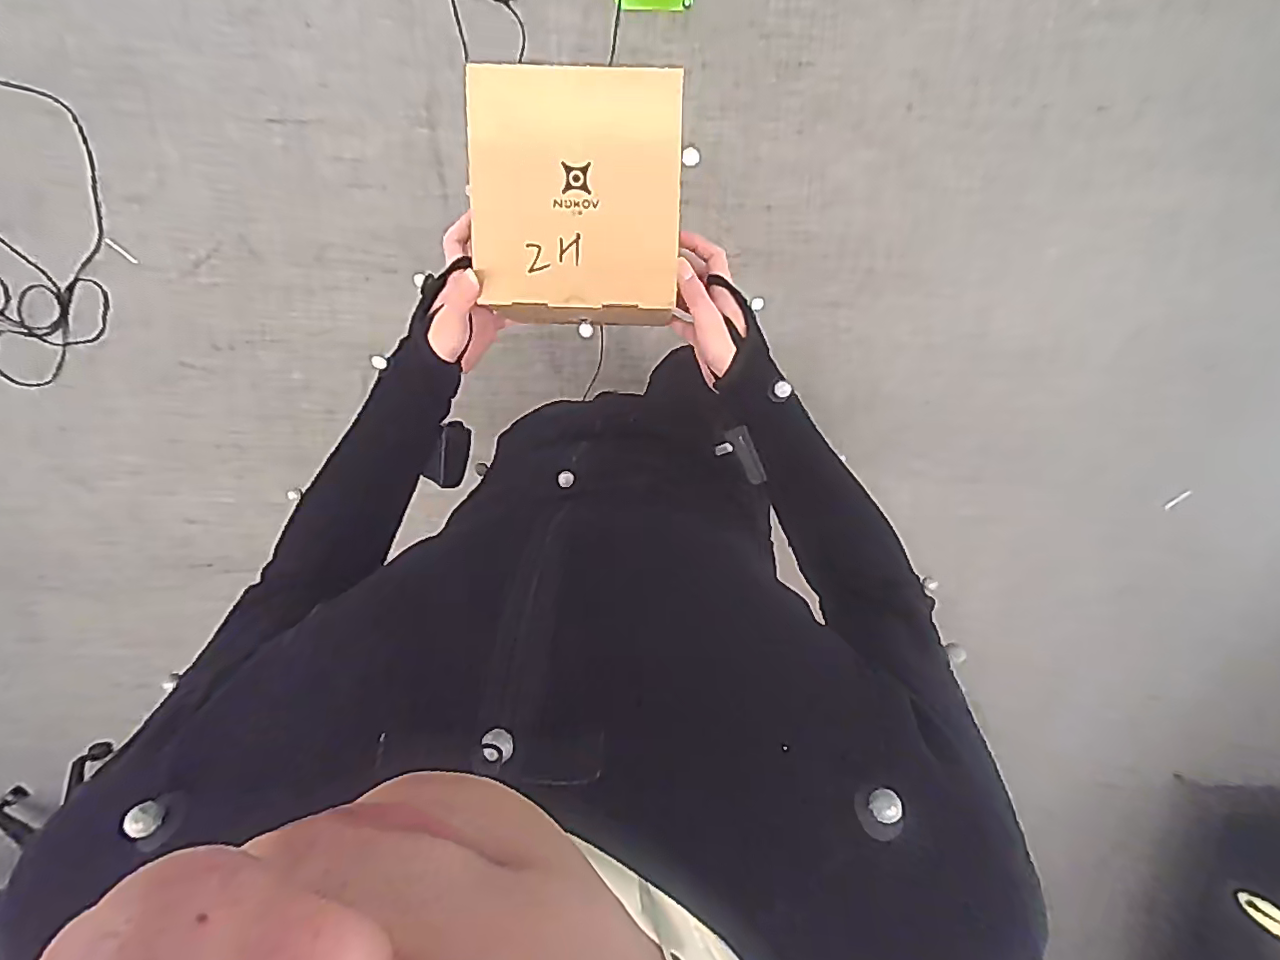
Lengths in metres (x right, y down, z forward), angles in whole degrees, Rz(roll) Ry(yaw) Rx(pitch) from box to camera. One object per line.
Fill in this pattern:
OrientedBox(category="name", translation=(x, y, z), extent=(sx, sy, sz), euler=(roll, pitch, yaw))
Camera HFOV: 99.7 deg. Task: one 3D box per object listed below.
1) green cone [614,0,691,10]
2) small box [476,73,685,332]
OrientedBox(category="green cone", translation=(0.033, -1.258, 1.182), extent=(0.202, 0.368, 0.200), euler=(1, 102, 0))
OrientedBox(category="small box", translation=(-0.052, -0.241, 0.512), extent=(0.168, 0.176, 0.179), euler=(2, 101, -1))
